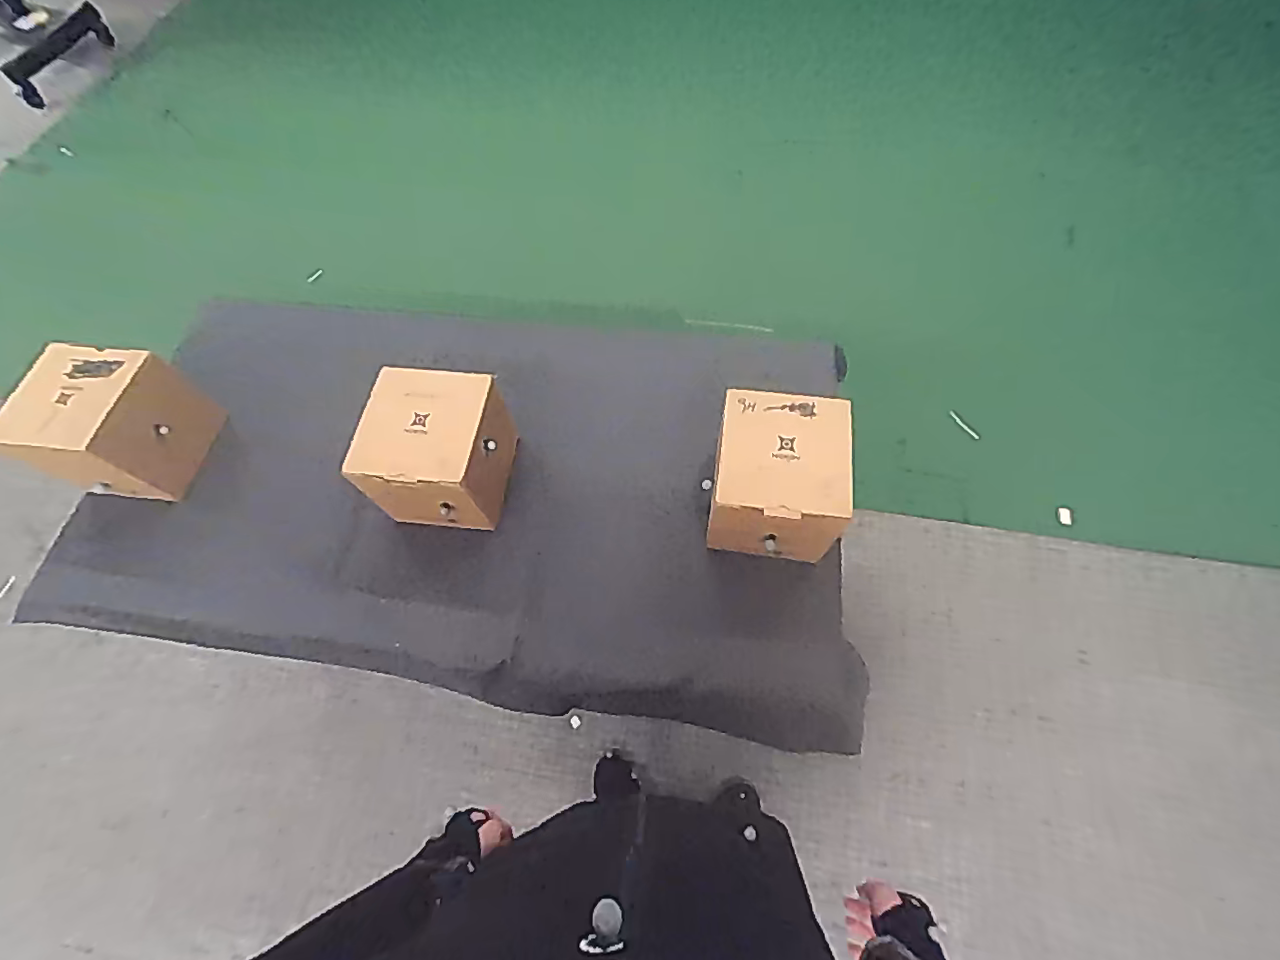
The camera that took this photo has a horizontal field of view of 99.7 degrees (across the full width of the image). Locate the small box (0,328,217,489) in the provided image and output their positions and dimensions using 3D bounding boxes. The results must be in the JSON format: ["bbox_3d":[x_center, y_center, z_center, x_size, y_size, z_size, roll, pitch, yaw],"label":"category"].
[{"bbox_3d":[-0.811,-0.106,0.835,0.168,0.176,0.179,6,64,5],"label":"small box"}]

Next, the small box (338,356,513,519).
[{"bbox_3d":[-0.297,-0.056,0.795,0.168,0.176,0.179,6,63,4],"label":"small box"}]

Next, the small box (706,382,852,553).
[{"bbox_3d":[0.185,-0.010,0.751,0.168,0.176,0.179,8,65,6],"label":"small box"}]
